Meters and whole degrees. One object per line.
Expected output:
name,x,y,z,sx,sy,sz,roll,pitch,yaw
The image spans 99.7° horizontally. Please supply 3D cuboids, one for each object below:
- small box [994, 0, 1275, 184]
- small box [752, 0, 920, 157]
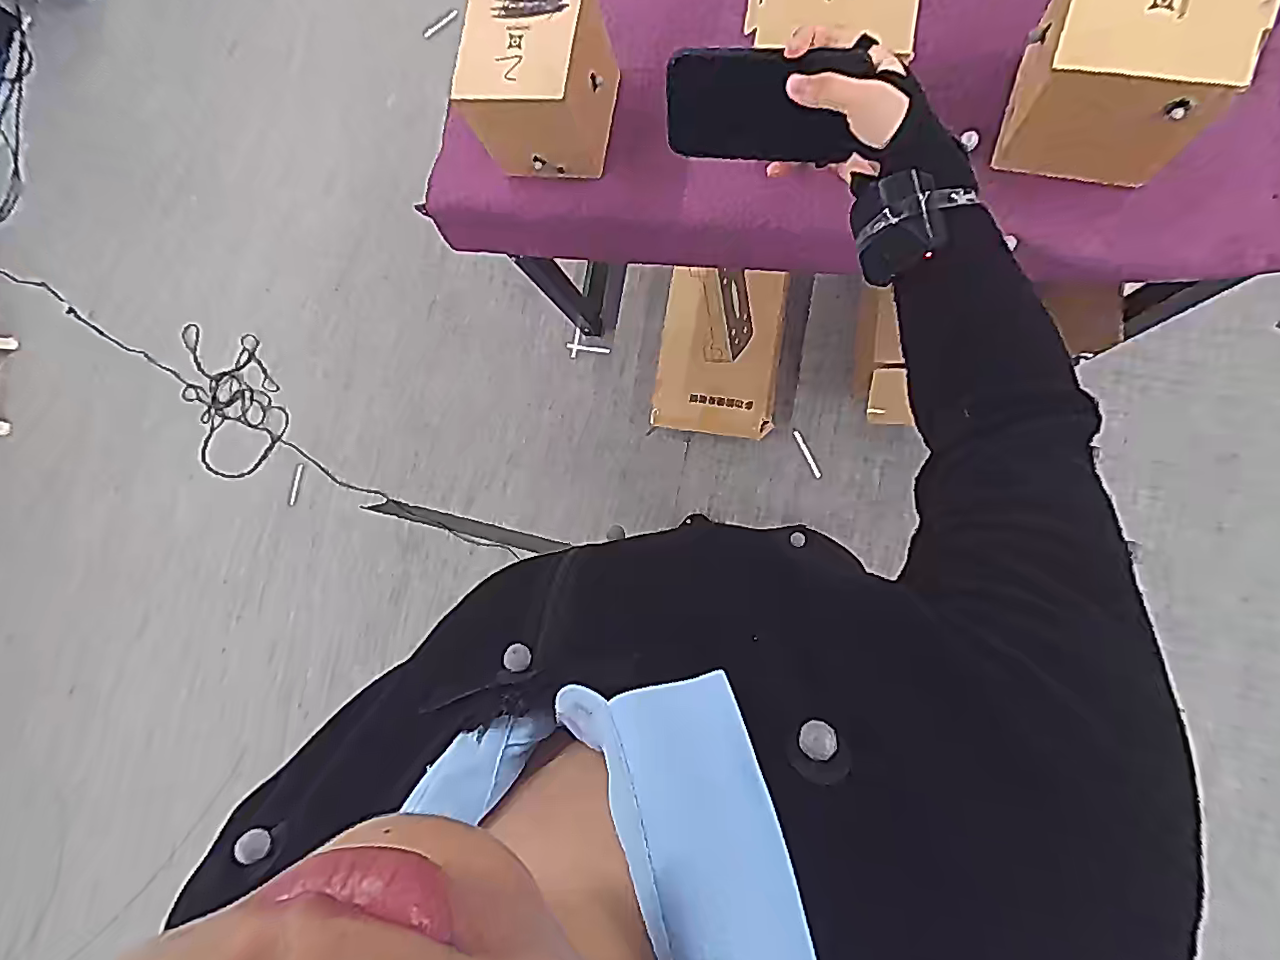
small box,0.544,-0.470,0.616,0.179,0.176,0.168,16,89,13
small box,0.242,-0.543,0.688,0.179,0.176,0.168,9,85,13
